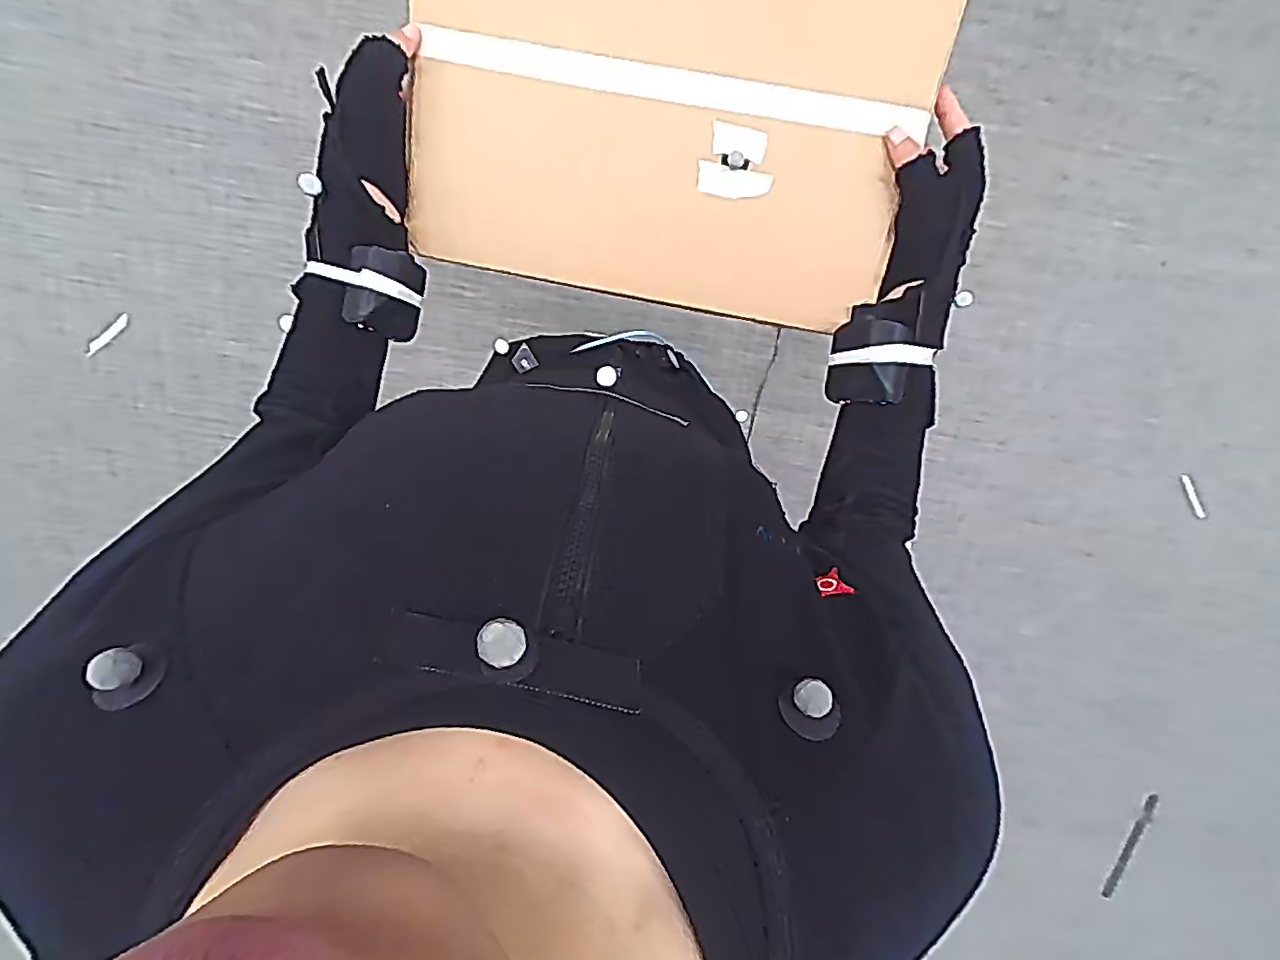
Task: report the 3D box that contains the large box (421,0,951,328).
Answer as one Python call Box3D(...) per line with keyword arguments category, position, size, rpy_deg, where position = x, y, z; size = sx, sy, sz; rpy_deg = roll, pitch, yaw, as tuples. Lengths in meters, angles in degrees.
Box3D(category="large box", position=(0.033, -0.356, 0.575), size=(0.408, 0.320, 0.320), rpy_deg=(12, 109, 1))
